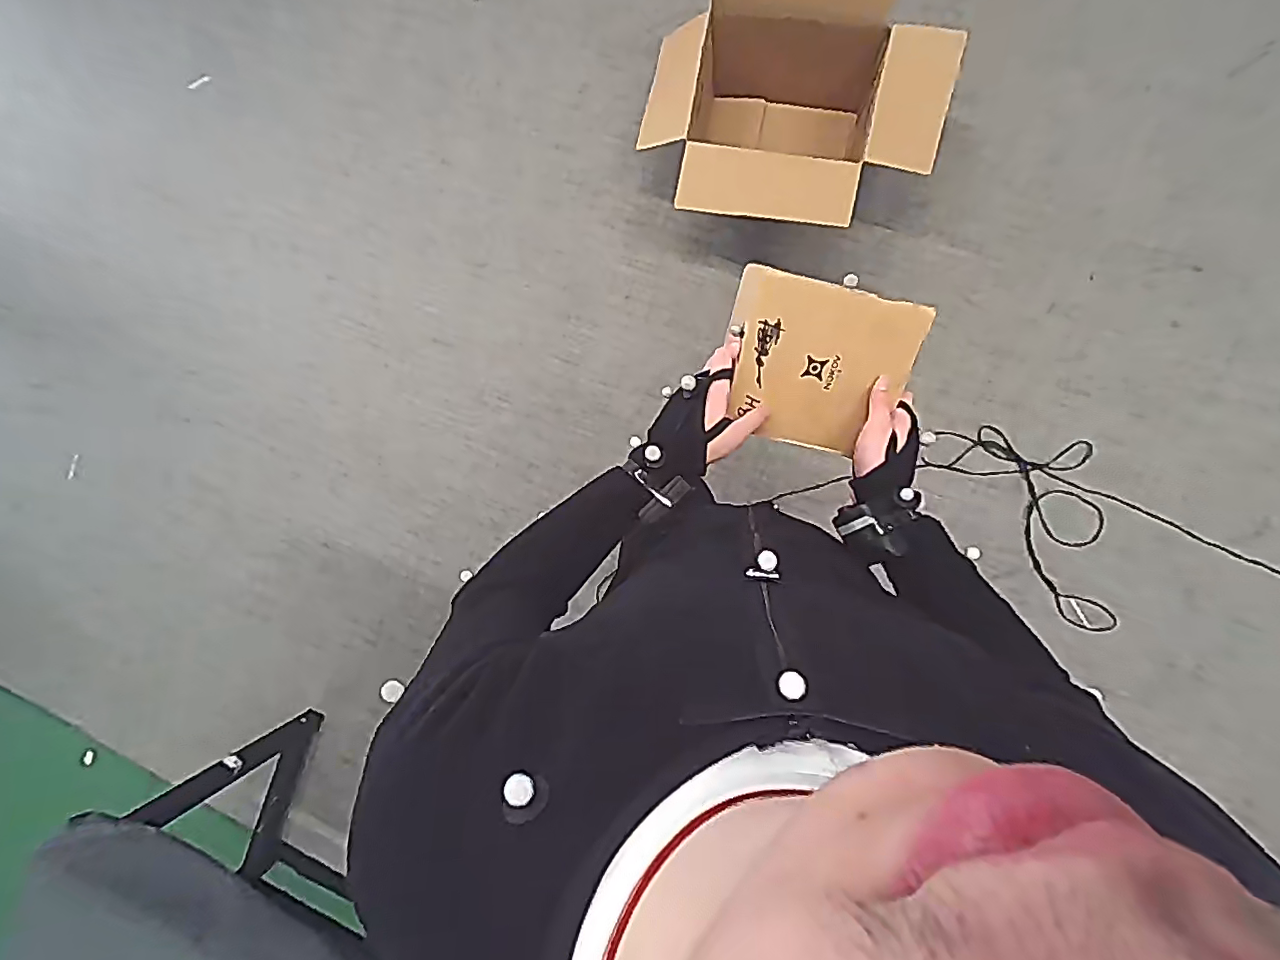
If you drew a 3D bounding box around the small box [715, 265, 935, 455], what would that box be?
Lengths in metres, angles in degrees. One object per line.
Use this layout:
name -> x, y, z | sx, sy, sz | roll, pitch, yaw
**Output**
small box -> 0.195, -0.149, 0.631 | 0.179, 0.176, 0.168 | 13, 113, -1
